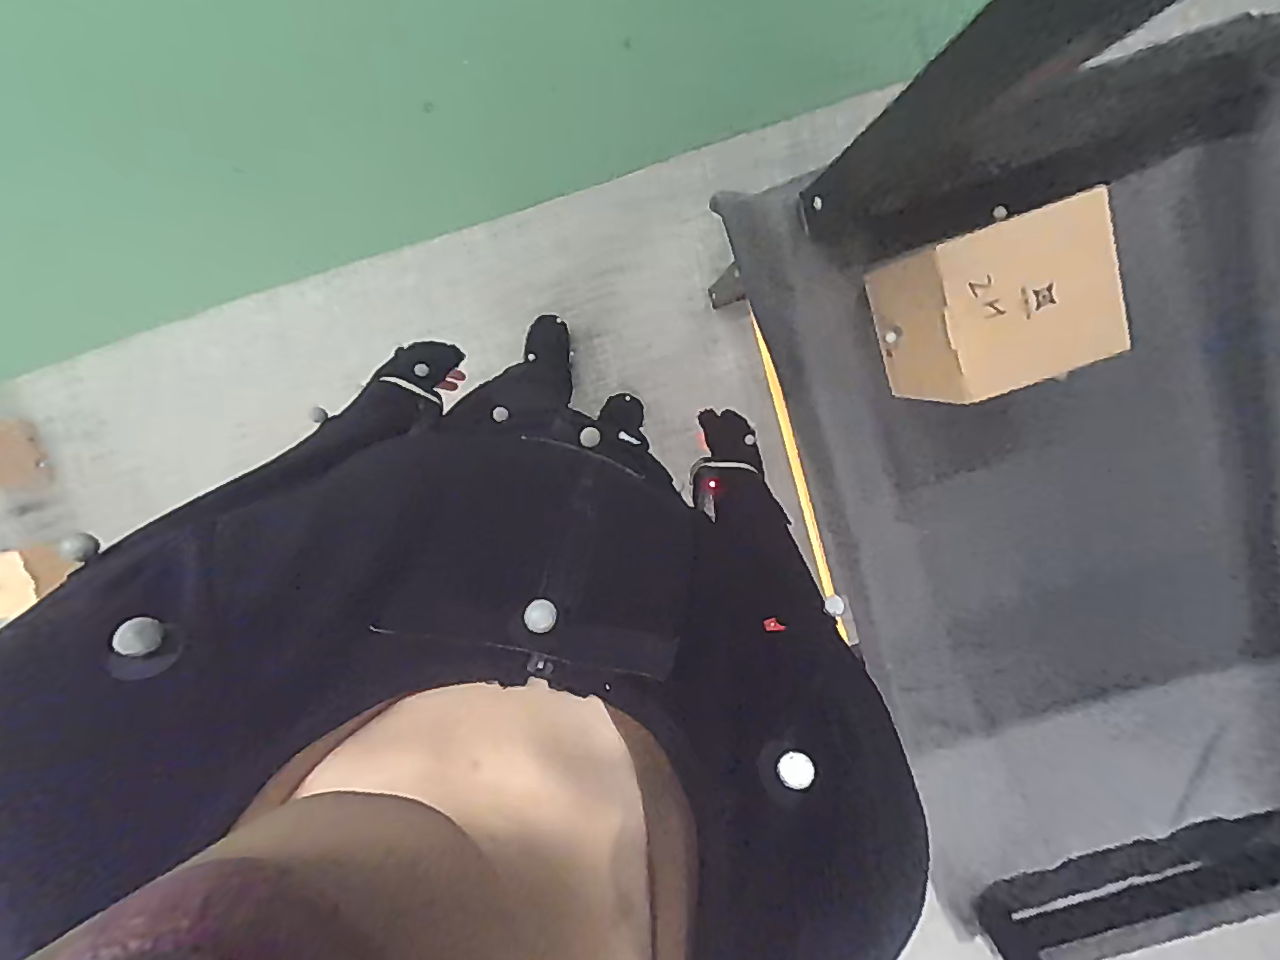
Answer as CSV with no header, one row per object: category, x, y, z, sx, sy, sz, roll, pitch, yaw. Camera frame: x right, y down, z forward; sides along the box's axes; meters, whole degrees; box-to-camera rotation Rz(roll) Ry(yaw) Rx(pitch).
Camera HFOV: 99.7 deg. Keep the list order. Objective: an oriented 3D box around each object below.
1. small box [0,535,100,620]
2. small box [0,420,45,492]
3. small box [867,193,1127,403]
small box,-1.608,0.257,1.426,0.179,0.176,0.168,-11,101,1
small box,-1.681,-0.047,1.364,0.179,0.176,0.168,-15,101,3
small box,0.397,-0.198,0.627,0.179,0.176,0.168,-19,101,2
